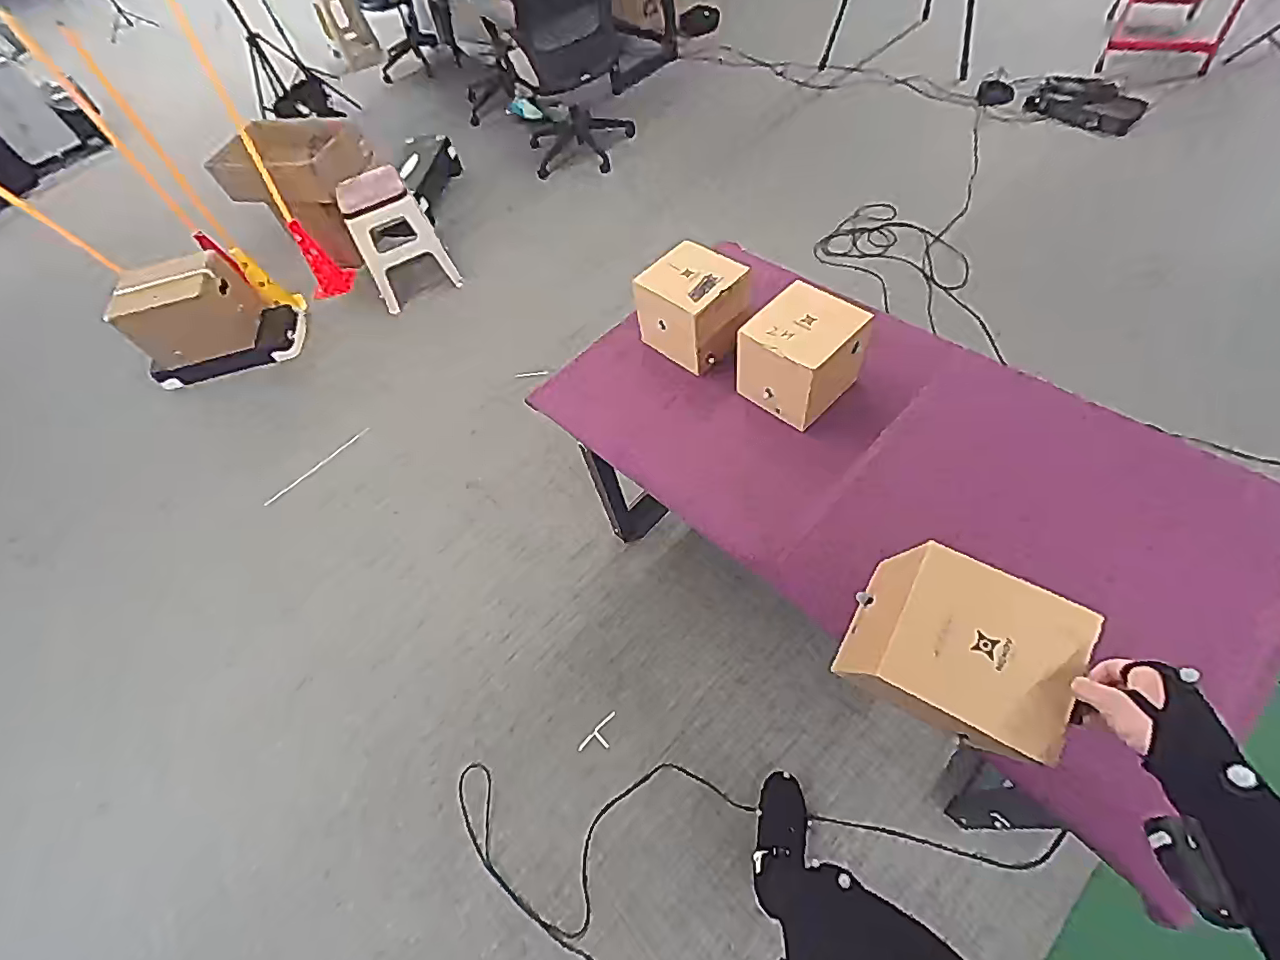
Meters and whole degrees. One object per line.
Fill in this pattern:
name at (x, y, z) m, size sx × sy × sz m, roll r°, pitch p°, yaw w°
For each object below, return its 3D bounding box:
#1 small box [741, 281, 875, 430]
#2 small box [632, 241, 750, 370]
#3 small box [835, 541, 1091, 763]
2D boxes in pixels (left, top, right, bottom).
small box at (0.304, -0.231, 1.017) m, size 0.179 × 0.176 × 0.168 m, roll -42°, pitch 60°, yaw -16°
small box at (0.112, -0.357, 1.130) m, size 0.168 × 0.176 × 0.179 m, roll -42°, pitch 60°, yaw -17°
small box at (0.364, 0.196, 0.640) m, size 0.179 × 0.176 × 0.168 m, roll 28°, pitch 76°, yaw 11°
